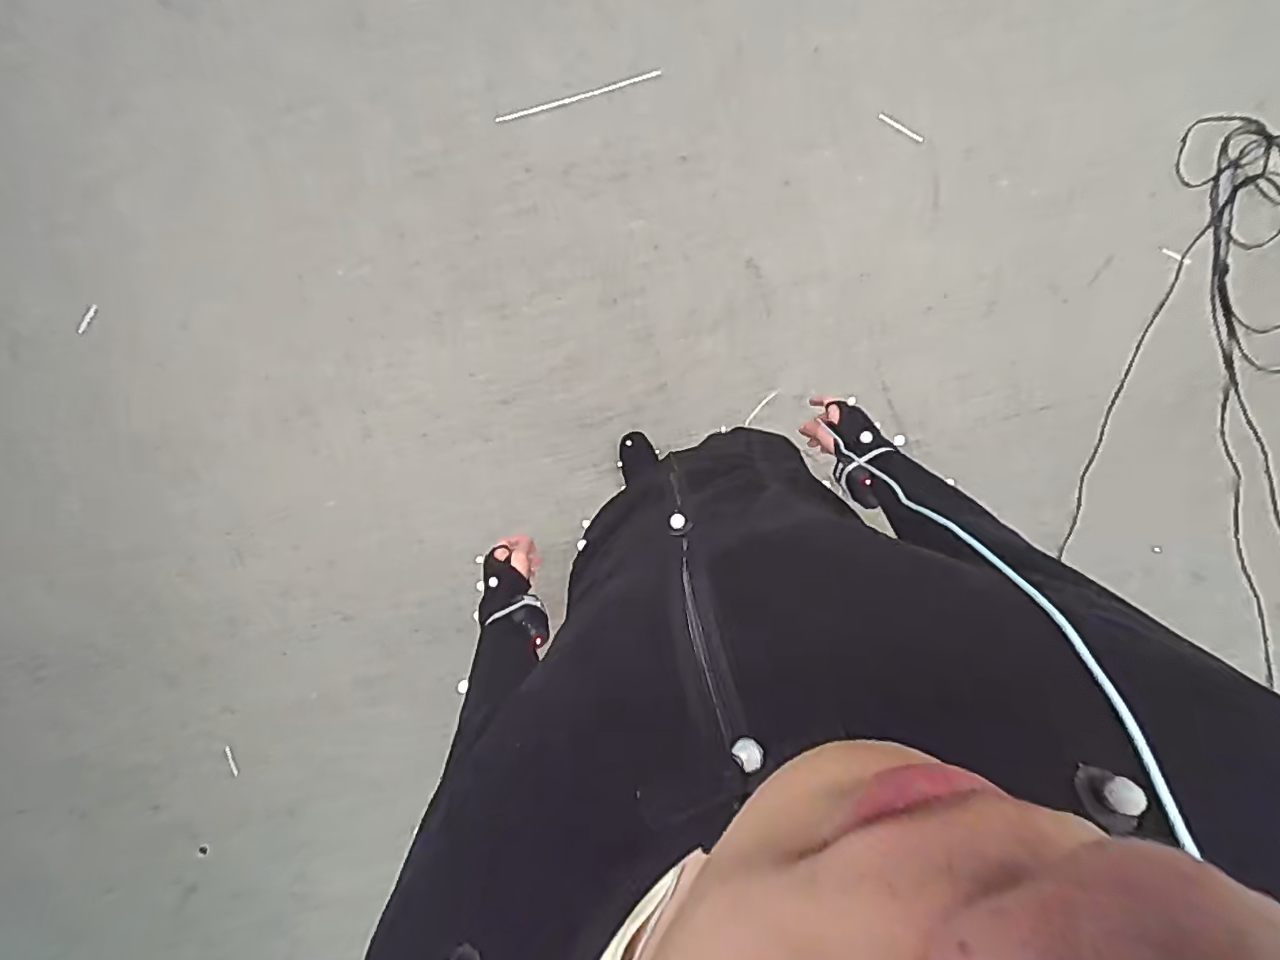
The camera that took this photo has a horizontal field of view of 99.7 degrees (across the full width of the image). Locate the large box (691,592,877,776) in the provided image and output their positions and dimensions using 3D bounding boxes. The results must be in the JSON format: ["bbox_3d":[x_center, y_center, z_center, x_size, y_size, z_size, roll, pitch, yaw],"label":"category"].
[{"bbox_3d":[0.386,0.557,1.536,0.408,0.320,0.320,-16,95,3],"label":"large box"}]
